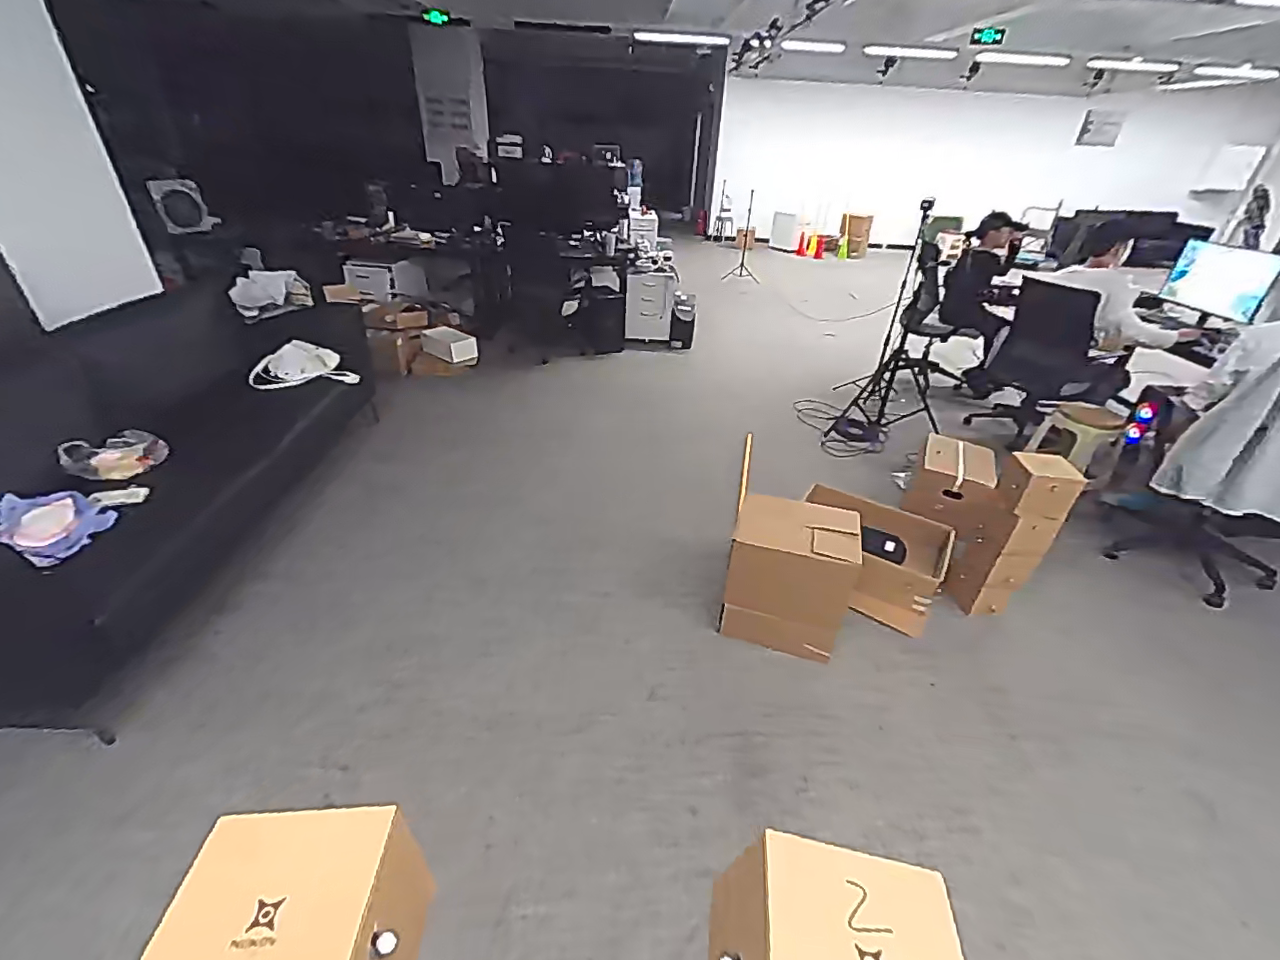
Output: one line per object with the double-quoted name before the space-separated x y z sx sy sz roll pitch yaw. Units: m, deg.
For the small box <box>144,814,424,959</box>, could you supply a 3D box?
"small box" -0.305 0.432 0.480 0.168 0.176 0.179 -1 33 -3
